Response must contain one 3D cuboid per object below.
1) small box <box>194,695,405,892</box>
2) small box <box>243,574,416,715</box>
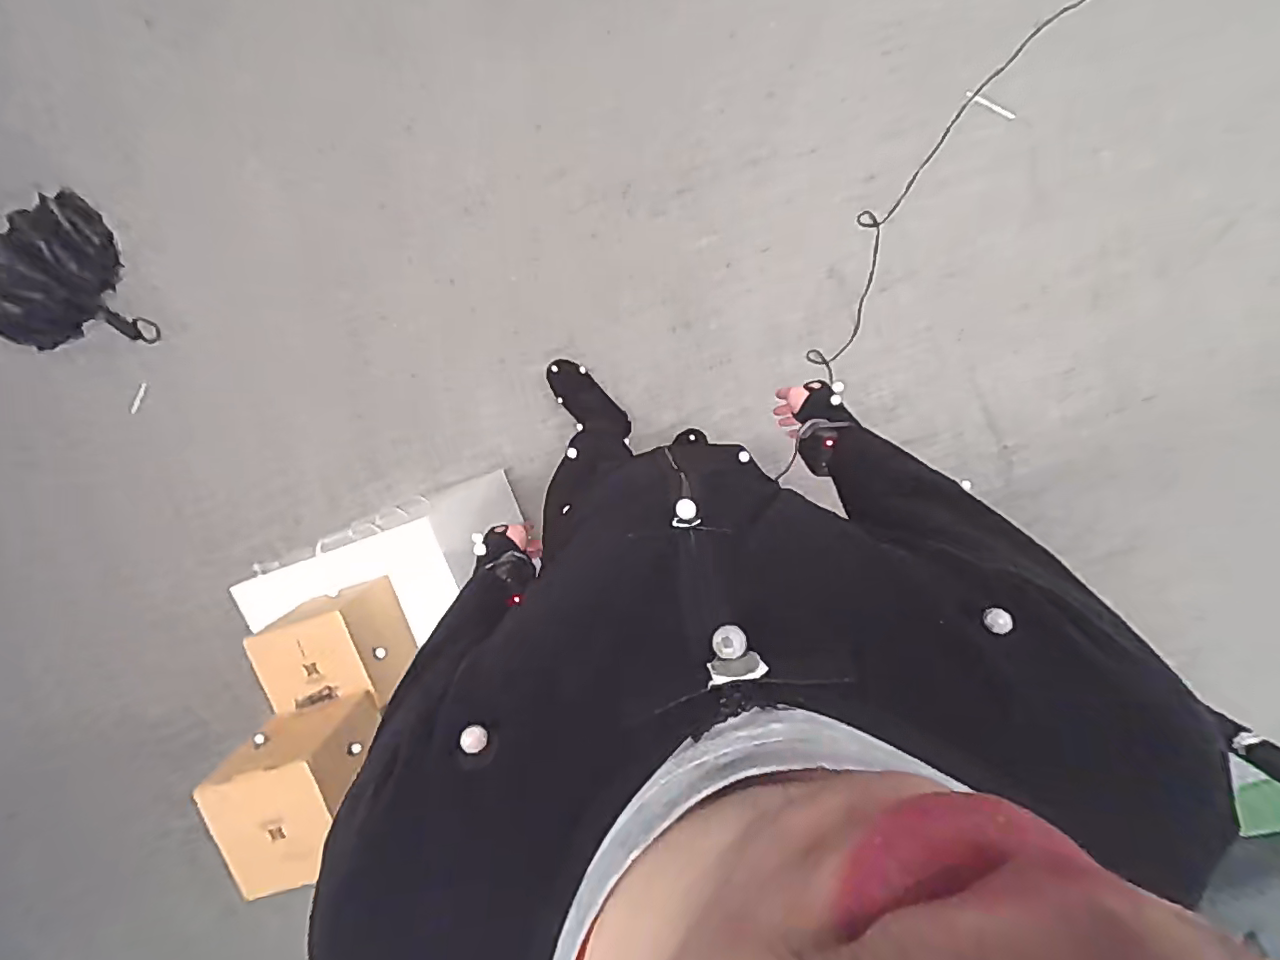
[{"bbox_3d":[-0.481,0.443,0.794,0.168,0.176,0.179,-17,101,4],"label":"small box"},{"bbox_3d":[-0.516,0.286,0.929,0.168,0.176,0.179,-17,100,3],"label":"small box"}]
